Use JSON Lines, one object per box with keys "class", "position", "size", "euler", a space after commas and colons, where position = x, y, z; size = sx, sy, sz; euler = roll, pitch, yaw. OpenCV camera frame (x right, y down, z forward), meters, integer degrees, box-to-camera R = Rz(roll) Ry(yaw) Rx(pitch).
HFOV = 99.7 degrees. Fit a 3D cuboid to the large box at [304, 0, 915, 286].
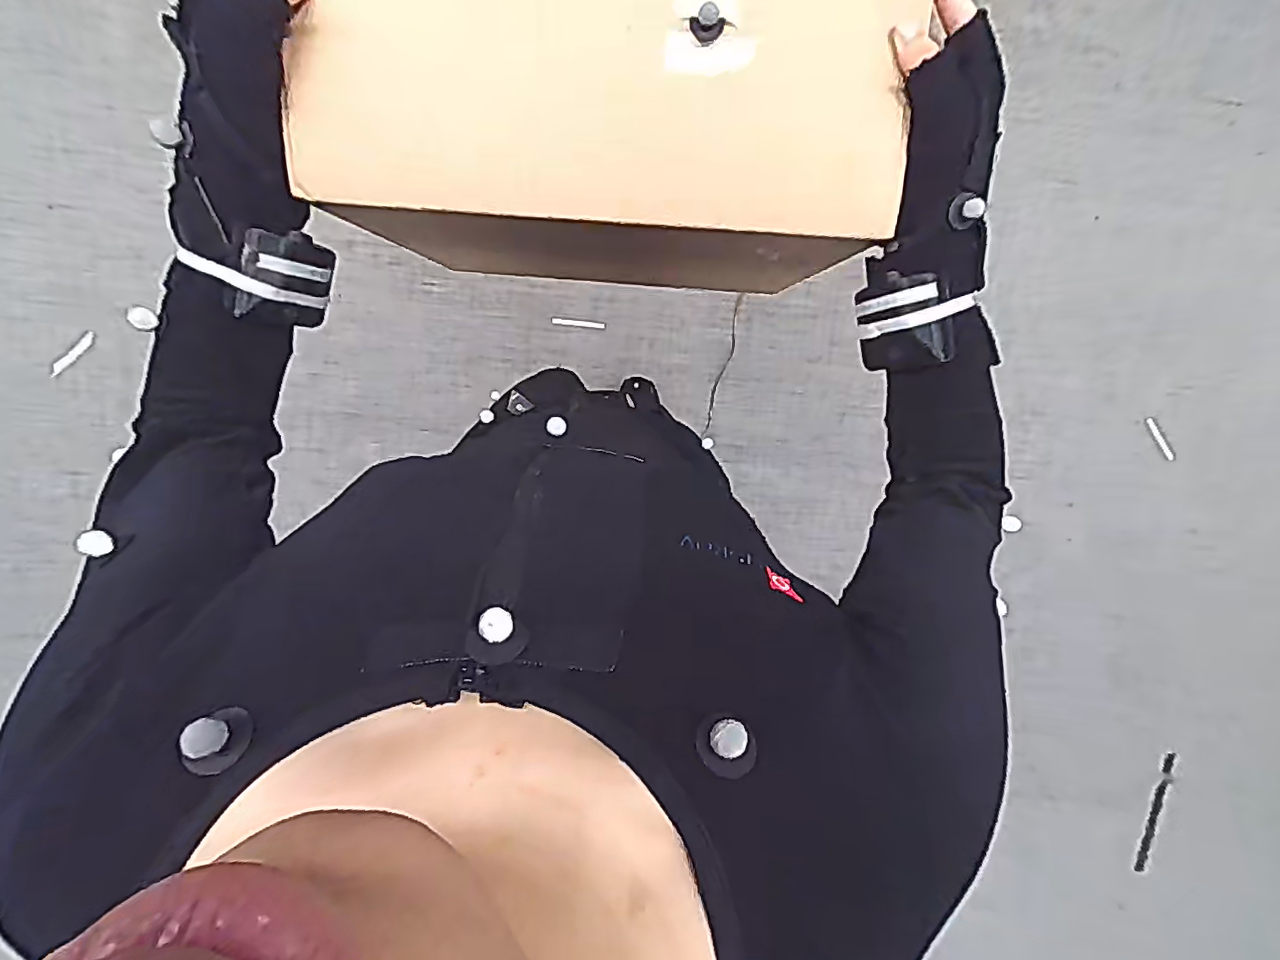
{"class": "large box", "position": [-0.020, -0.367, 0.491], "size": [0.408, 0.320, 0.320], "euler": [3, 102, -1]}
